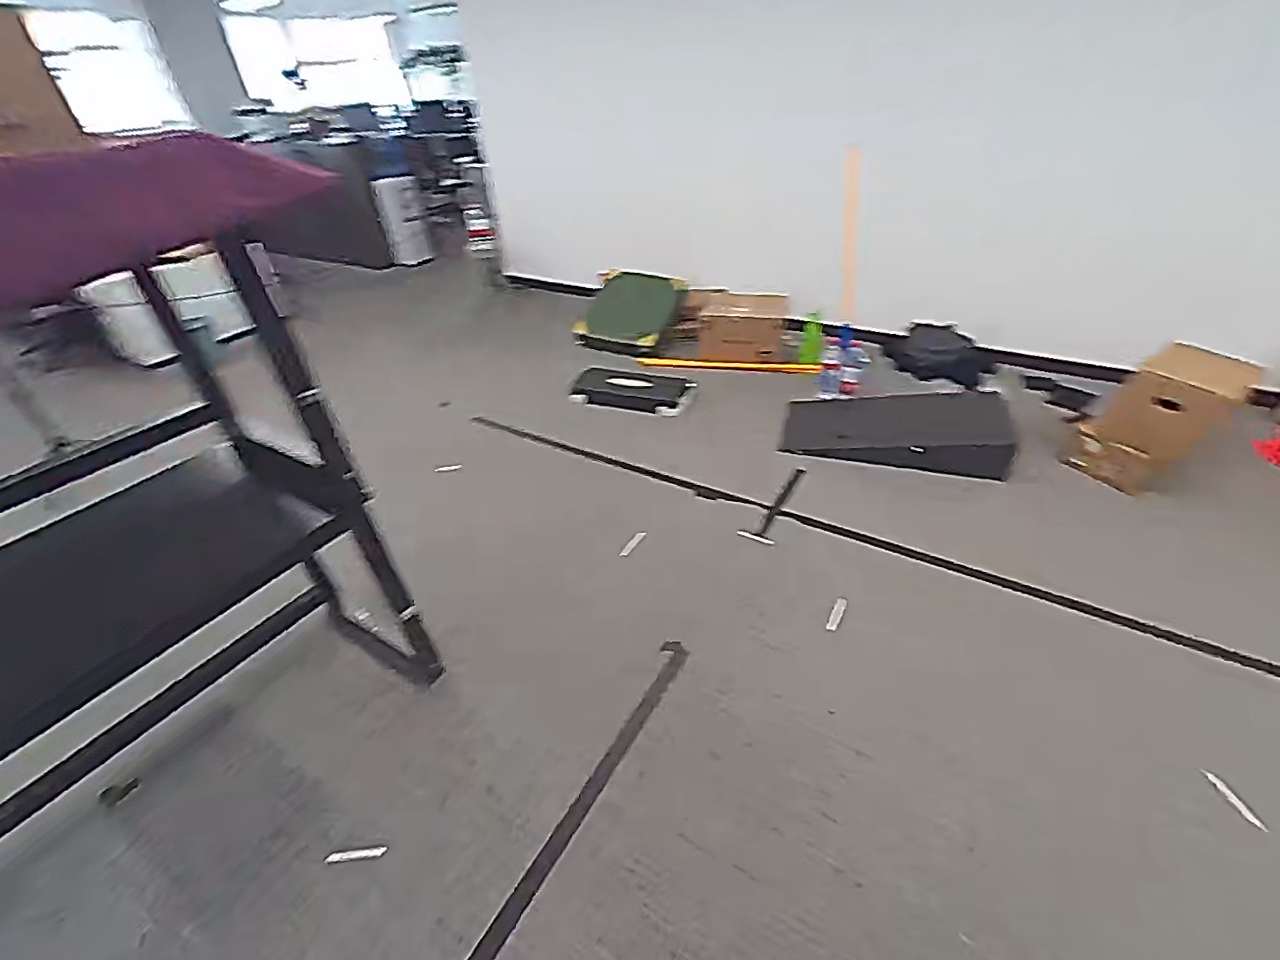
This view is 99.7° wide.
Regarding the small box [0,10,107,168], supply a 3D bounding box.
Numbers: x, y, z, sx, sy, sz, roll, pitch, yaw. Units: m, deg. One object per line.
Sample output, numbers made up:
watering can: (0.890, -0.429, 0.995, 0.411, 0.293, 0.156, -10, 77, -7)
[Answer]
small box: (-0.920, -0.551, 0.770, 0.168, 0.176, 0.179, 21, 43, 31)
